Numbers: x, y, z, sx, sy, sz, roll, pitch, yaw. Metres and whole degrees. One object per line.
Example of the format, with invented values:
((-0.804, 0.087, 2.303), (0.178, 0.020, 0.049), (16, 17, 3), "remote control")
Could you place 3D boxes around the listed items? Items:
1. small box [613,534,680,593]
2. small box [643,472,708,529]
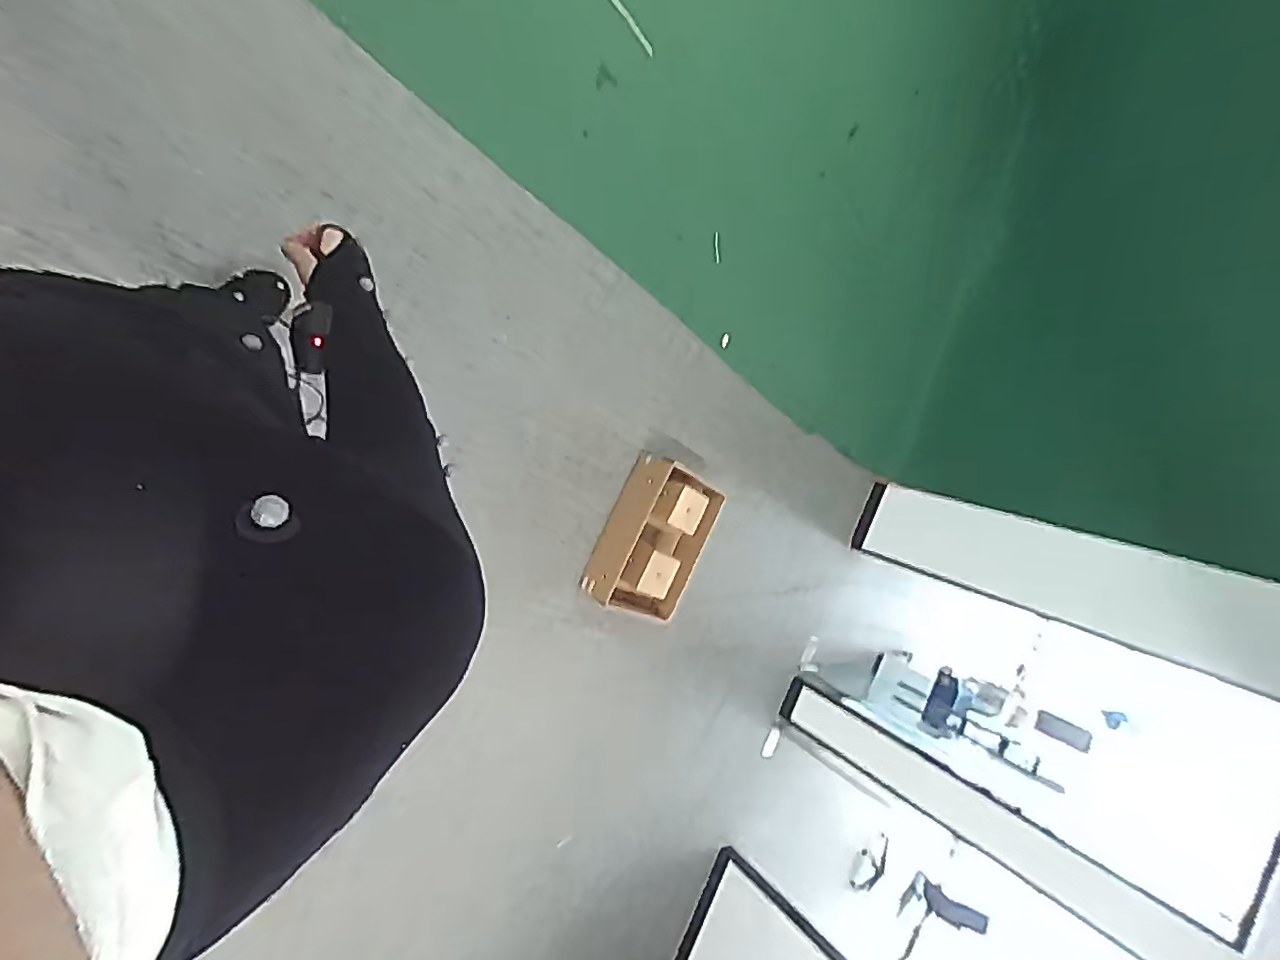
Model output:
((0.022, 0.335, 2.197), (0.179, 0.176, 0.168), (30, 84, -43), "small box")
((0.141, 0.080, 2.213), (0.179, 0.176, 0.168), (28, 86, -44), "small box")
